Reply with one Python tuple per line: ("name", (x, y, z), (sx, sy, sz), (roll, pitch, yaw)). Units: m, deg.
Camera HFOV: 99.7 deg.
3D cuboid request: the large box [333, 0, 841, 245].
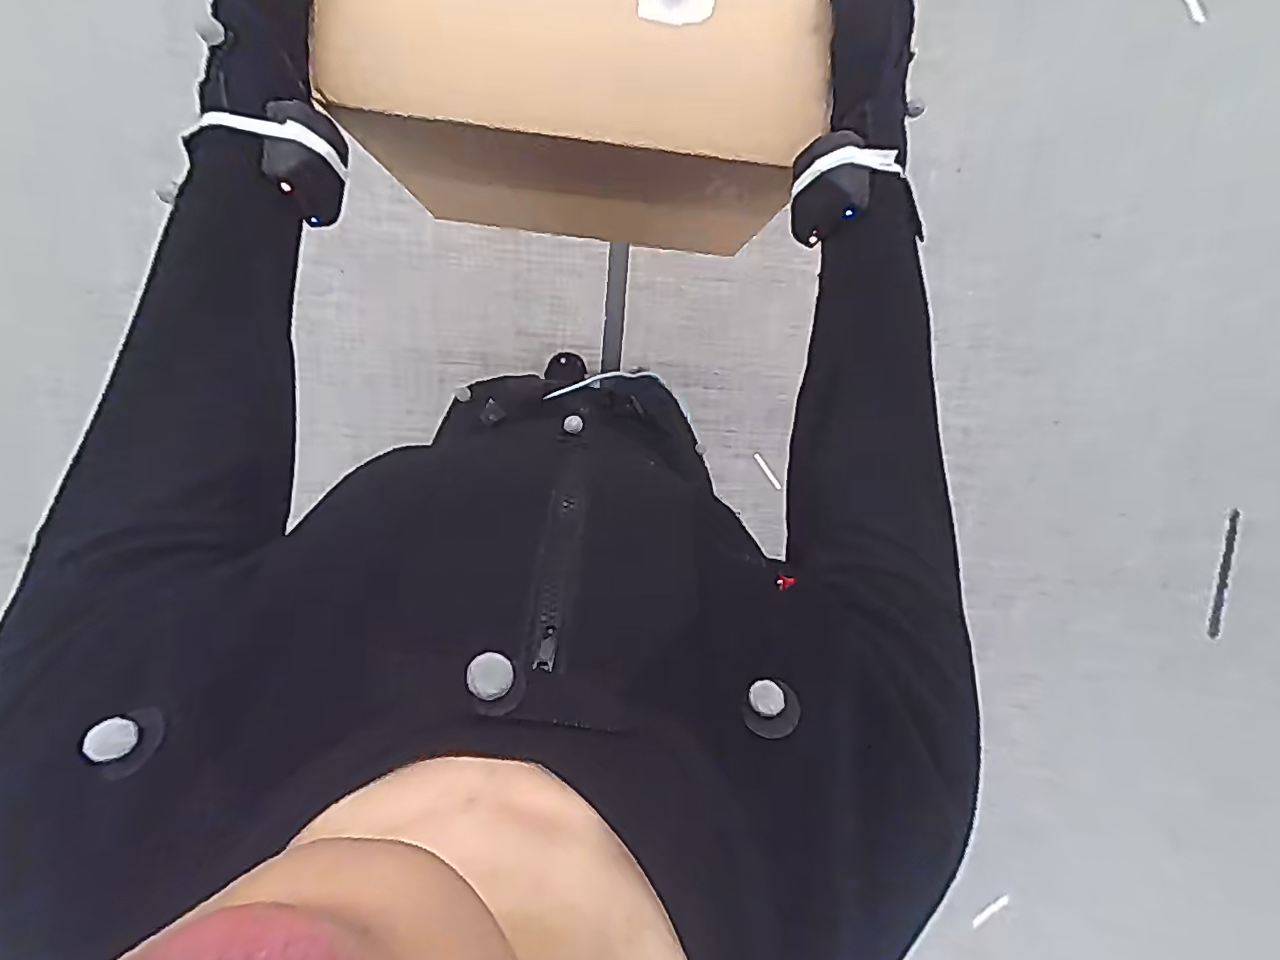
("large box", (-0.042, -0.460, 0.560), (0.408, 0.320, 0.320), (5, 102, -5))
